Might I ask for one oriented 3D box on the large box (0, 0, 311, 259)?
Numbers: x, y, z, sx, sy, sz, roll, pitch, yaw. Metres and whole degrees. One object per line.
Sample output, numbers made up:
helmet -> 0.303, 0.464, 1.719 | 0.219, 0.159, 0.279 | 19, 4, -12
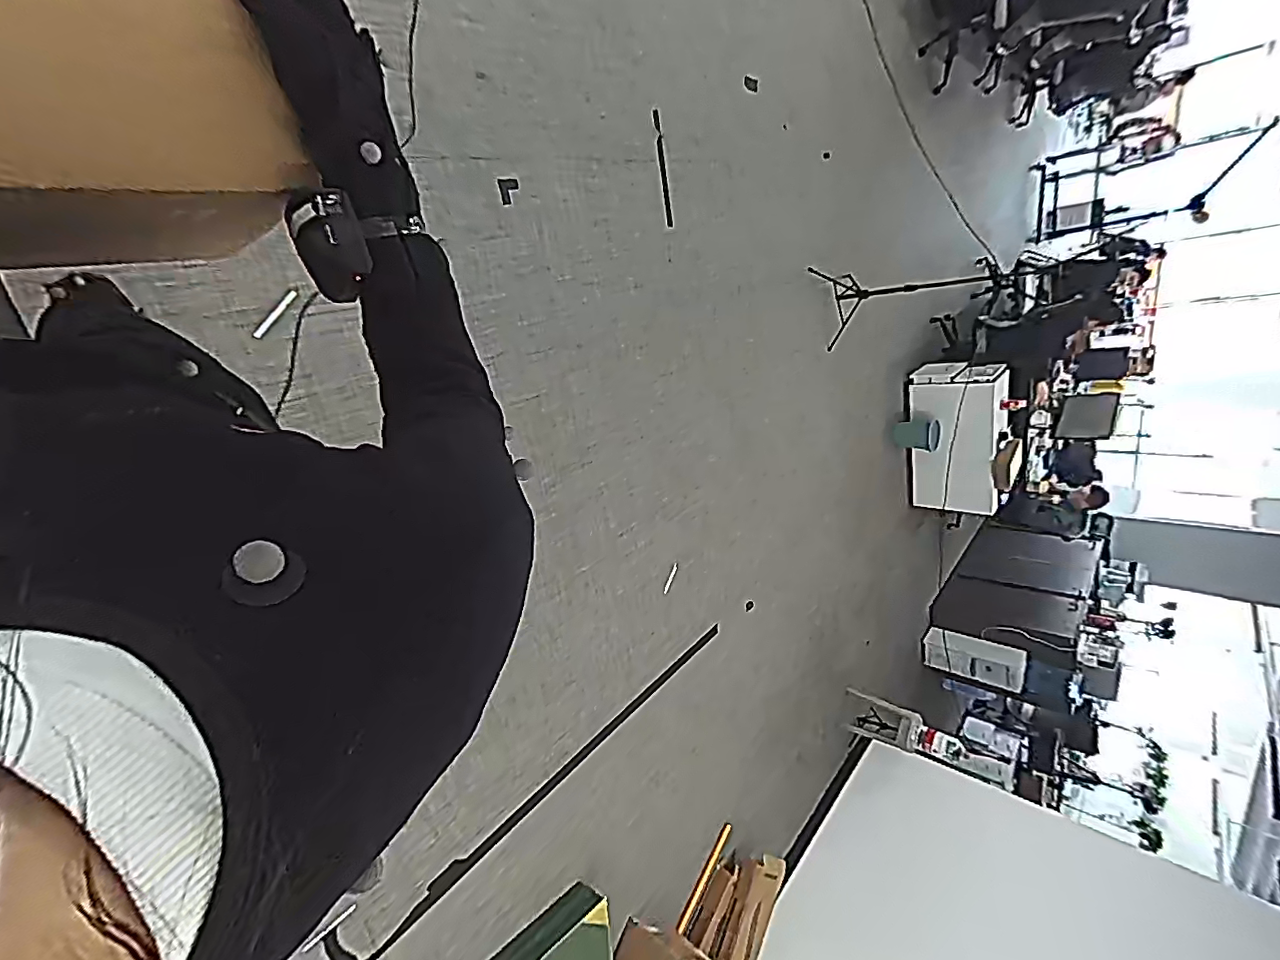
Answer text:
large box -> -0.500, -0.307, 0.309 | 0.408, 0.320, 0.320 | -27, 118, -41
